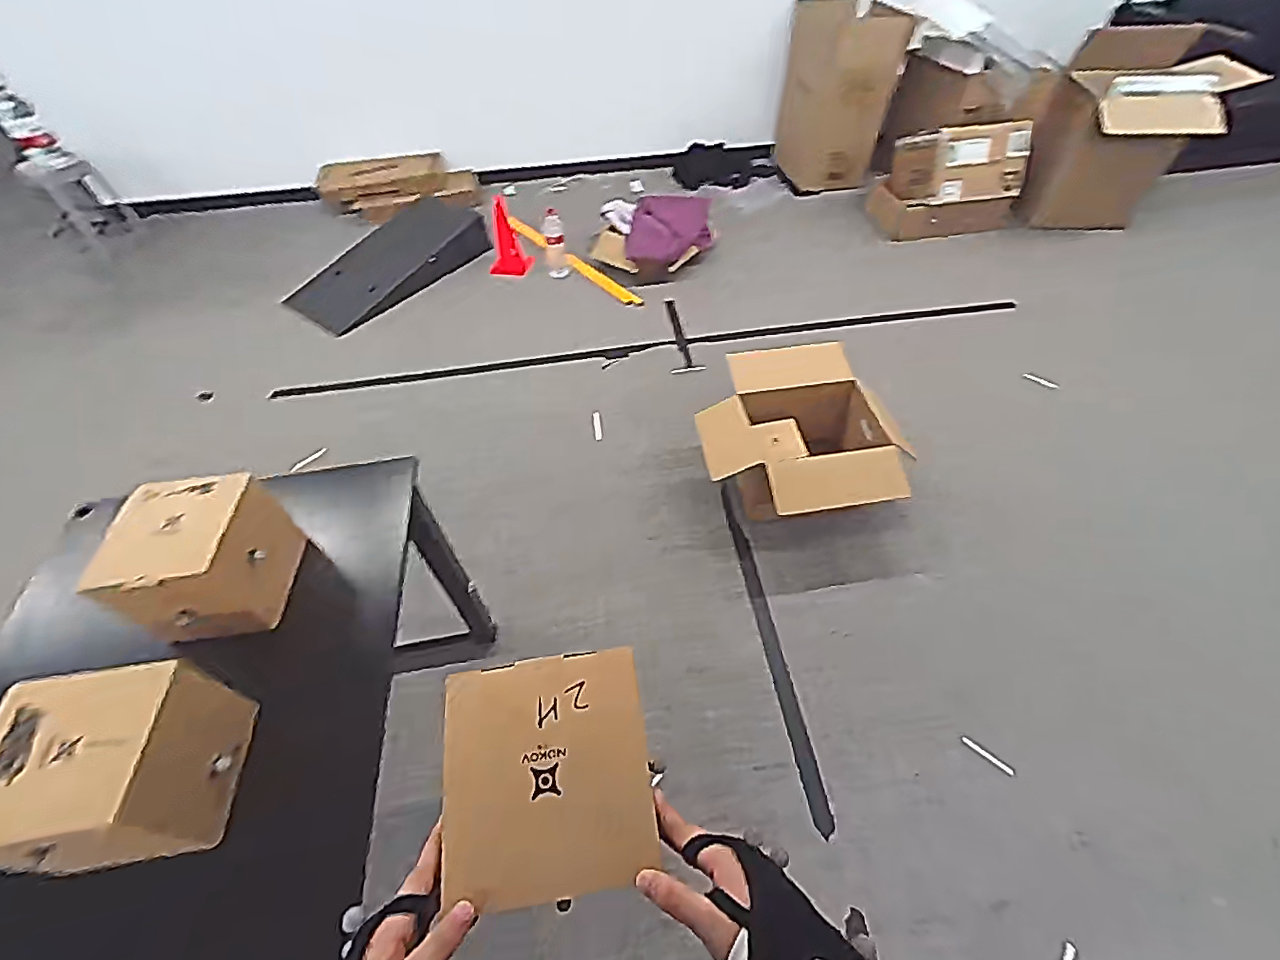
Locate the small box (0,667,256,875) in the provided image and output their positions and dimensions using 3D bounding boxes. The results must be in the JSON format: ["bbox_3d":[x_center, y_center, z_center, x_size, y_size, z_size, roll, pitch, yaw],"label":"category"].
[{"bbox_3d":[-0.600,0.338,0.624,0.179,0.176,0.168,-8,51,-5],"label":"small box"}]

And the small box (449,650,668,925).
[{"bbox_3d":[-0.067,0.275,0.503,0.168,0.176,0.179,-8,59,-4],"label":"small box"}]

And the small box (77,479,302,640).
[{"bbox_3d":[-0.641,0.124,0.802,0.168,0.176,0.179,-6,52,-2],"label":"small box"}]
